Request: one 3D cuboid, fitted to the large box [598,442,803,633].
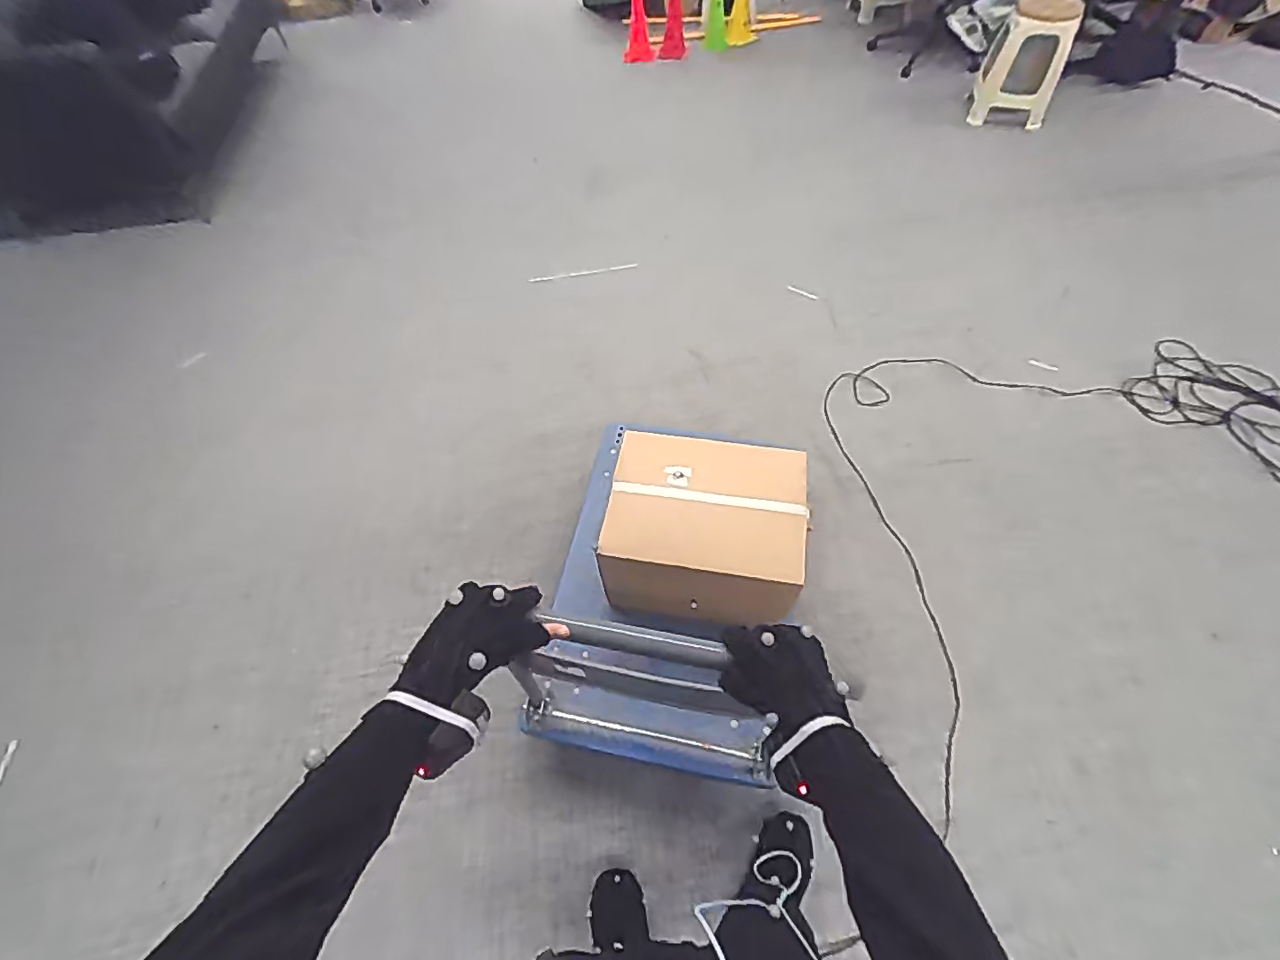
[{"bbox_3d":[0.147,0.139,1.251,0.408,0.320,0.320,6,57,9],"label":"large box"}]
